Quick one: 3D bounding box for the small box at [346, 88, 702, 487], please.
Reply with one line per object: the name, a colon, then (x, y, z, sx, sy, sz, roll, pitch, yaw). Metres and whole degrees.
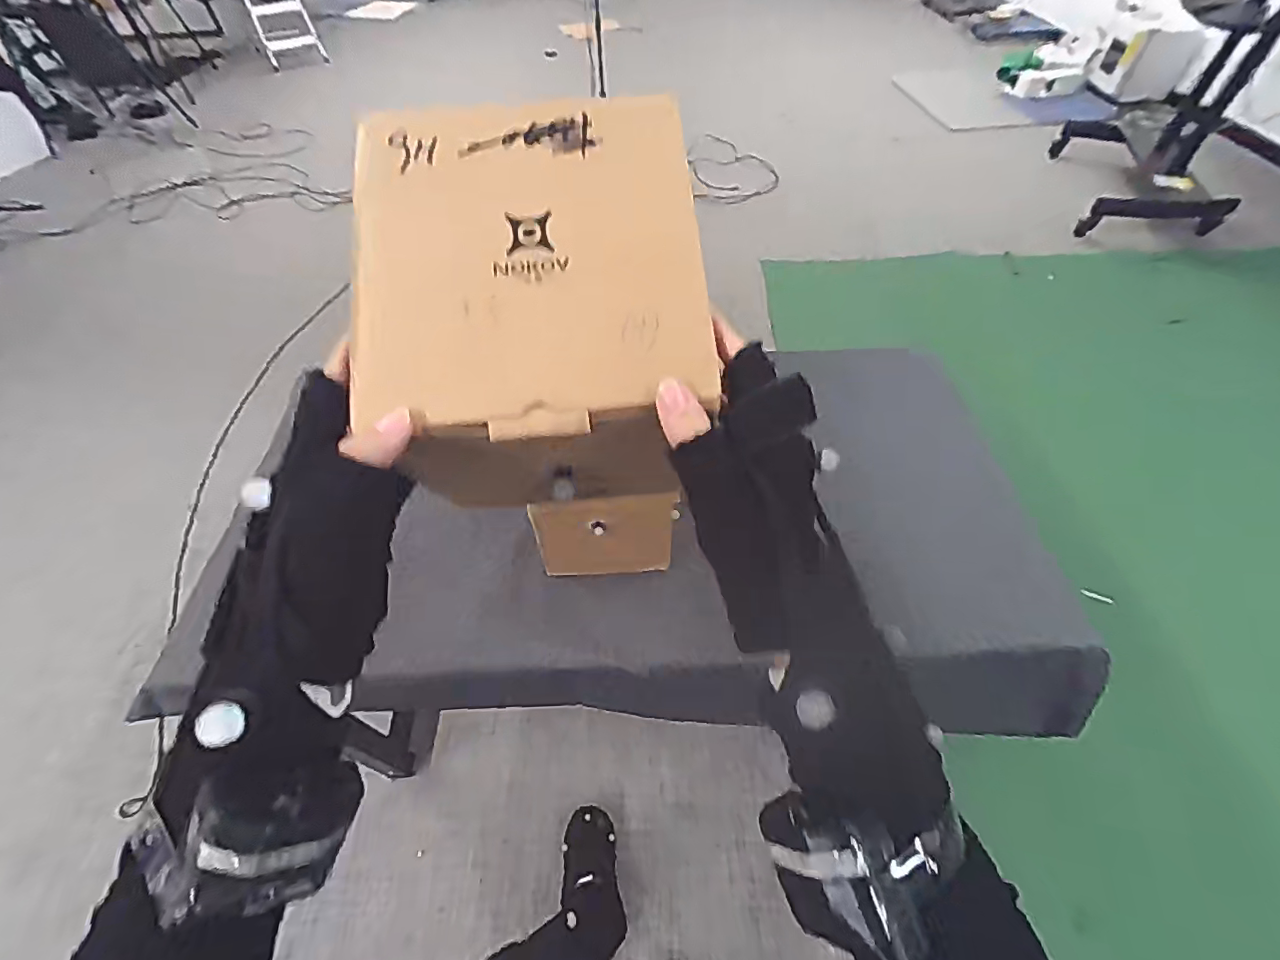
small box: (-0.058, -0.095, 0.339, 0.168, 0.176, 0.179, -5, 78, -2)

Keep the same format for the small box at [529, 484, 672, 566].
small box: (-0.048, 0.010, 0.757, 0.179, 0.176, 0.168, -2, 53, -1)

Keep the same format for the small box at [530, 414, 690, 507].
small box: (-0.045, -0.085, 0.623, 0.179, 0.176, 0.168, -6, 53, -3)
